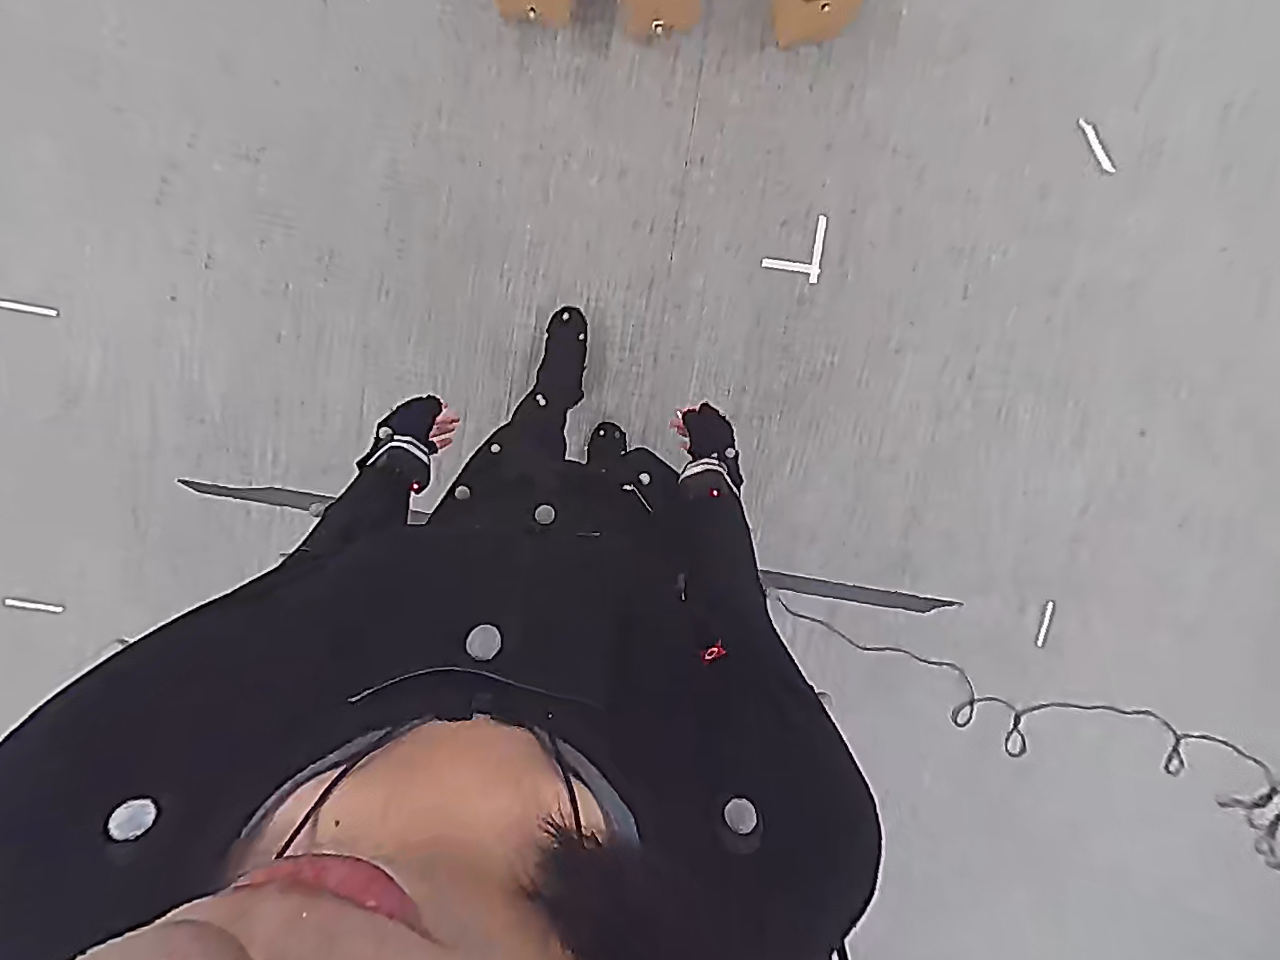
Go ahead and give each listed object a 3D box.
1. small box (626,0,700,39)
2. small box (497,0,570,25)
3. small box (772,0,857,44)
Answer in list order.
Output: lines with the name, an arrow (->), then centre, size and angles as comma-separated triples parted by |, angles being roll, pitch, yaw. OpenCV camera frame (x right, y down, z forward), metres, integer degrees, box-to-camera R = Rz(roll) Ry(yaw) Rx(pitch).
small box -> 0.048, -1.201, 1.278 | 0.168, 0.176, 0.179 | -9, 98, 0
small box -> -0.249, -1.218, 1.267 | 0.179, 0.176, 0.168 | 7, 97, -4
small box -> 0.421, -1.193, 1.290 | 0.179, 0.176, 0.168 | -16, 98, -1
